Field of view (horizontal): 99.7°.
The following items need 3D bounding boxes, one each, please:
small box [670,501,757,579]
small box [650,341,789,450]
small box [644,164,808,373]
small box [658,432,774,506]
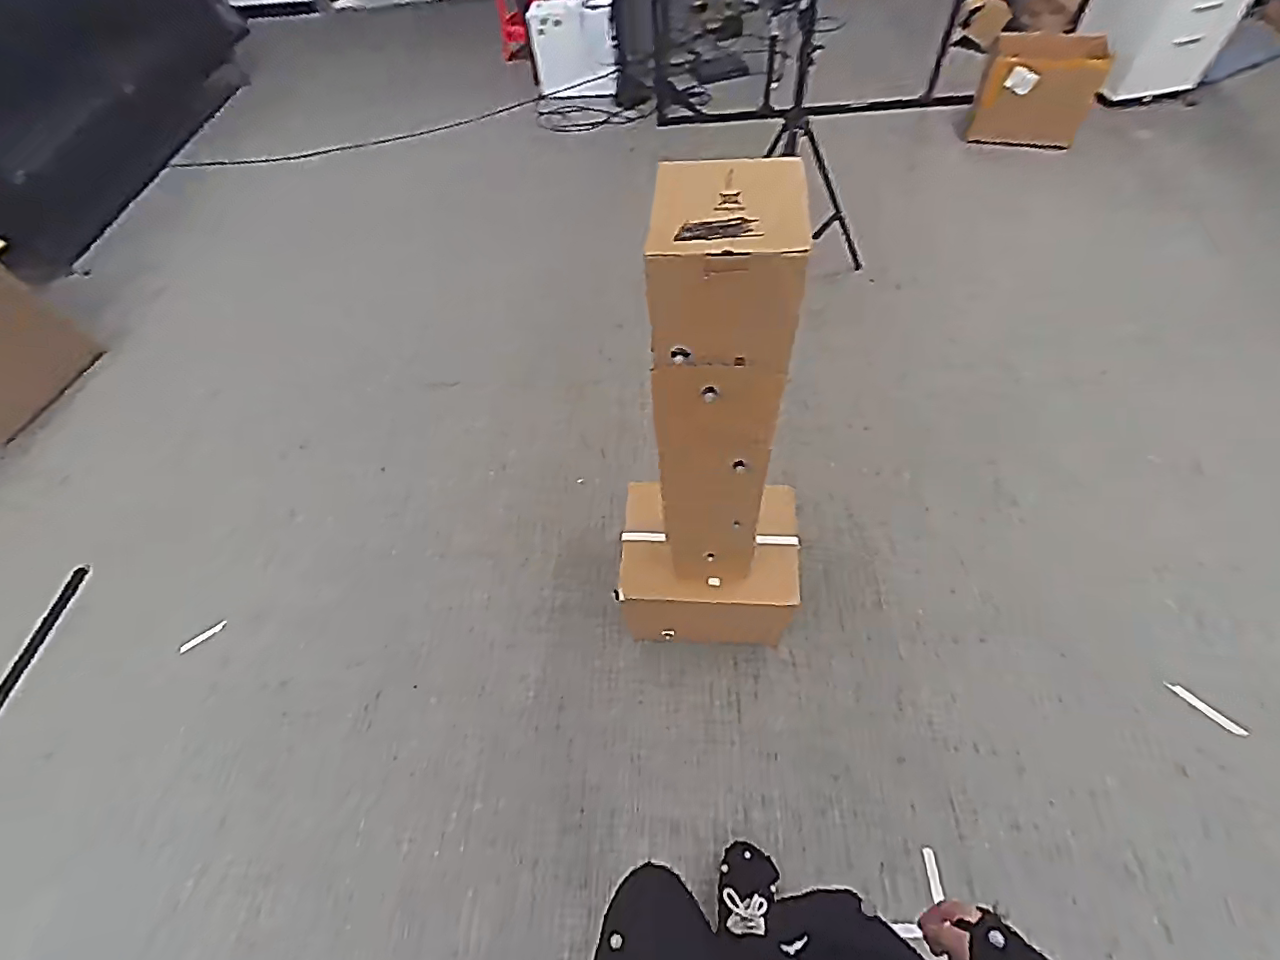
[{"bbox_3d":[0.157,0.112,1.193,0.179,0.176,0.168,0,58,5],"label":"small box"},{"bbox_3d":[0.113,-0.155,0.784,0.179,0.176,0.168,2,59,8],"label":"small box"},{"bbox_3d":[0.102,-0.244,0.647,0.168,0.176,0.179,2,58,8],"label":"small box"},{"bbox_3d":[0.127,-0.067,0.919,0.179,0.176,0.168,2,58,7],"label":"small box"}]
